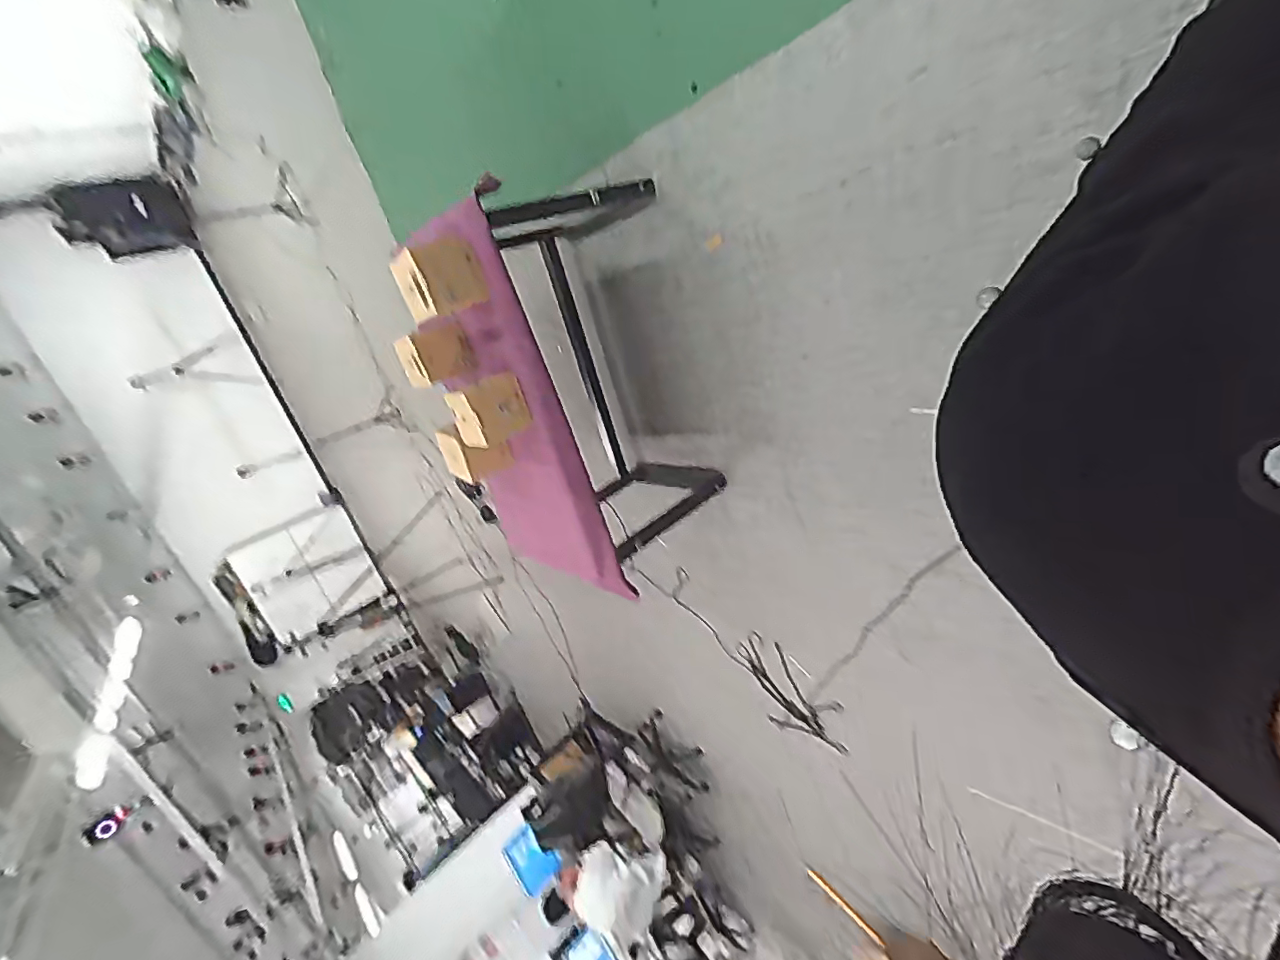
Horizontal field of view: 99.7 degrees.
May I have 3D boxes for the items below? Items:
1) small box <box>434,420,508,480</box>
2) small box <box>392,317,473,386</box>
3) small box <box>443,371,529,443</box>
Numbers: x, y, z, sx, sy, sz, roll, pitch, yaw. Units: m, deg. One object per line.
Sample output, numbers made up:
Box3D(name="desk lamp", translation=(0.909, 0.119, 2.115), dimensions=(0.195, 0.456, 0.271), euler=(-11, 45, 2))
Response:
Box3D(name="small box", translation=(-0.573, -0.124, 1.863), dimensions=(0.179, 0.176, 0.168), euler=(19, 129, 43))
Box3D(name="small box", translation=(-0.664, -0.415, 1.746), dimensions=(0.179, 0.176, 0.168), euler=(6, 120, 51))
Box3D(name="small box", translation=(-0.458, -0.224, 1.636), dimensions=(0.179, 0.176, 0.168), euler=(9, 123, 49))
